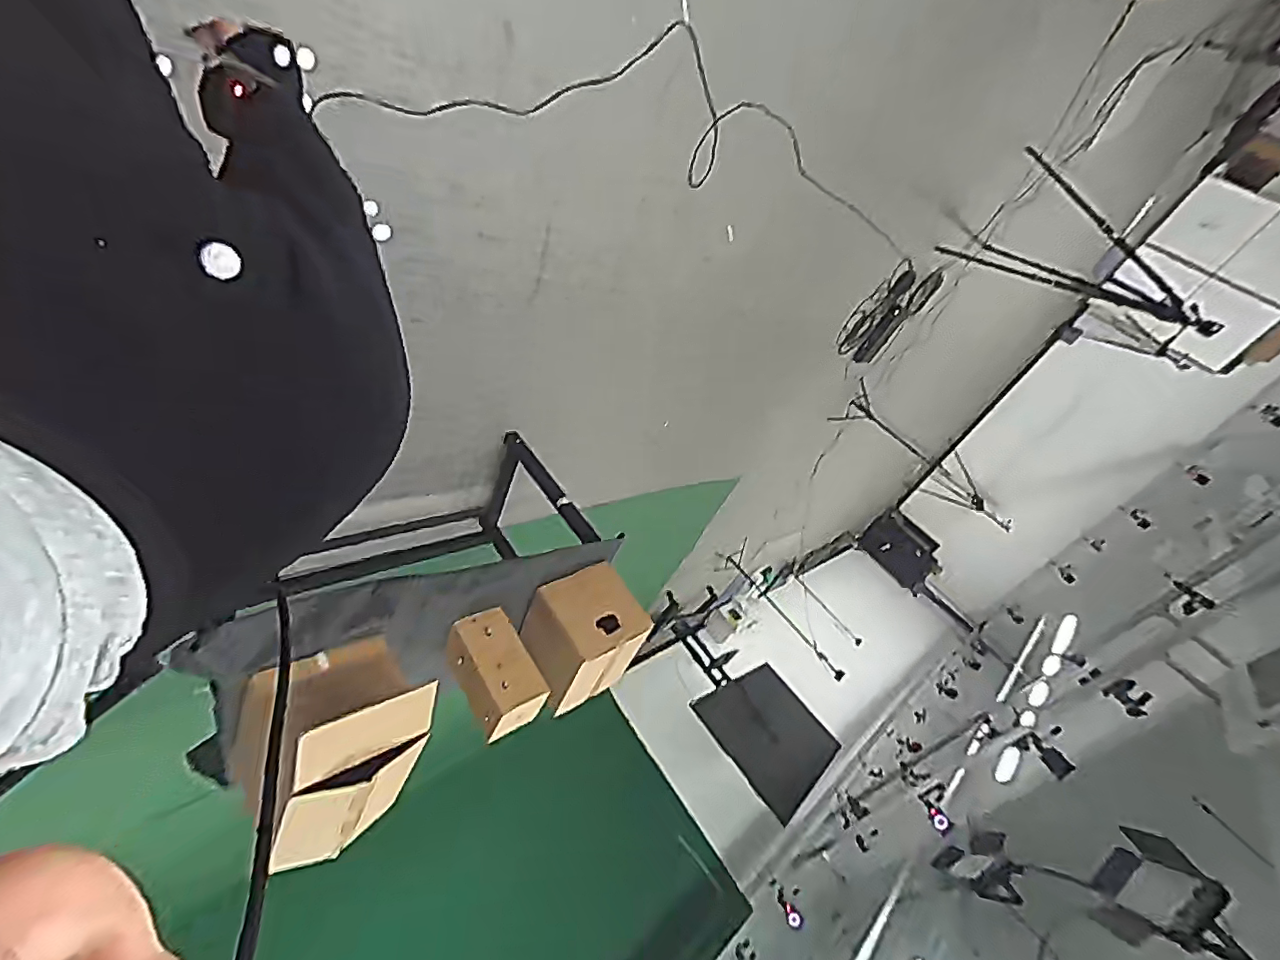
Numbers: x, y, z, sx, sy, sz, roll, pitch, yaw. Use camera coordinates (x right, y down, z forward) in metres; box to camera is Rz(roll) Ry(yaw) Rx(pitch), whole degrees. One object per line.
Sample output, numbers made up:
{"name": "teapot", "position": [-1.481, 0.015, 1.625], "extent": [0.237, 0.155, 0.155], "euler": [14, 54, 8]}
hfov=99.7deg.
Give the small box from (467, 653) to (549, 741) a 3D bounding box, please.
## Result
{"name": "small box", "position": [-0.415, 0.660, 1.673], "extent": [0.168, 0.176, 0.179], "euler": [-12, 143, -44]}
